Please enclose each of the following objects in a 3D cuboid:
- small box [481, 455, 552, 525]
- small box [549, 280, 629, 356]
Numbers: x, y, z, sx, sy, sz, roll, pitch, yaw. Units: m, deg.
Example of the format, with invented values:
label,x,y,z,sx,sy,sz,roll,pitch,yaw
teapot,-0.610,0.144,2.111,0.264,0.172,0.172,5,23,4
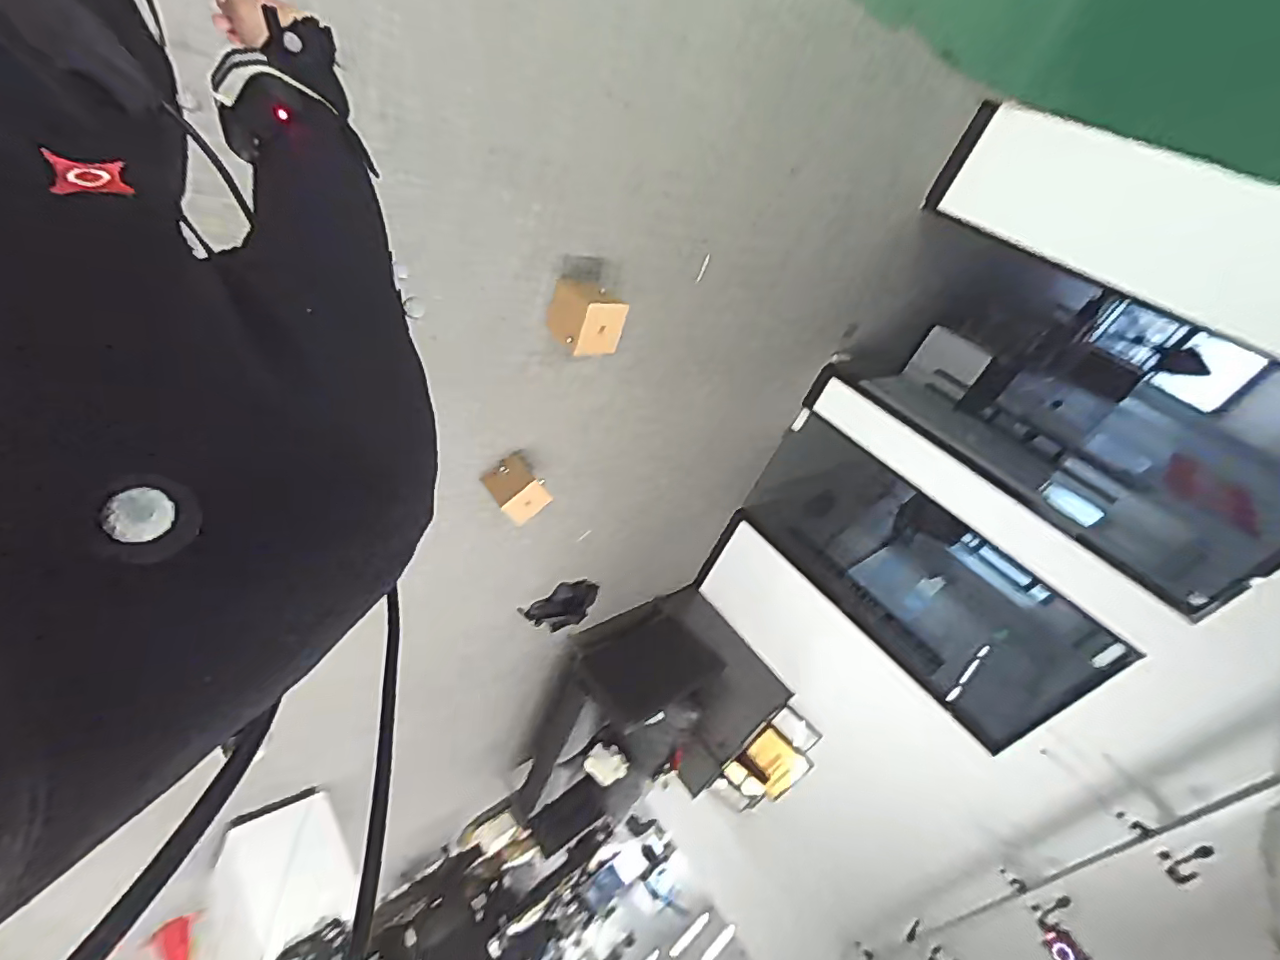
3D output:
label,x,y,z,sx,sy,sz,roll,pitch,yaw
small box,-0.468,0.036,2.050,0.168,0.176,0.179,-41,151,-7
small box,-0.166,-0.514,1.703,0.168,0.176,0.179,-16,141,-41
